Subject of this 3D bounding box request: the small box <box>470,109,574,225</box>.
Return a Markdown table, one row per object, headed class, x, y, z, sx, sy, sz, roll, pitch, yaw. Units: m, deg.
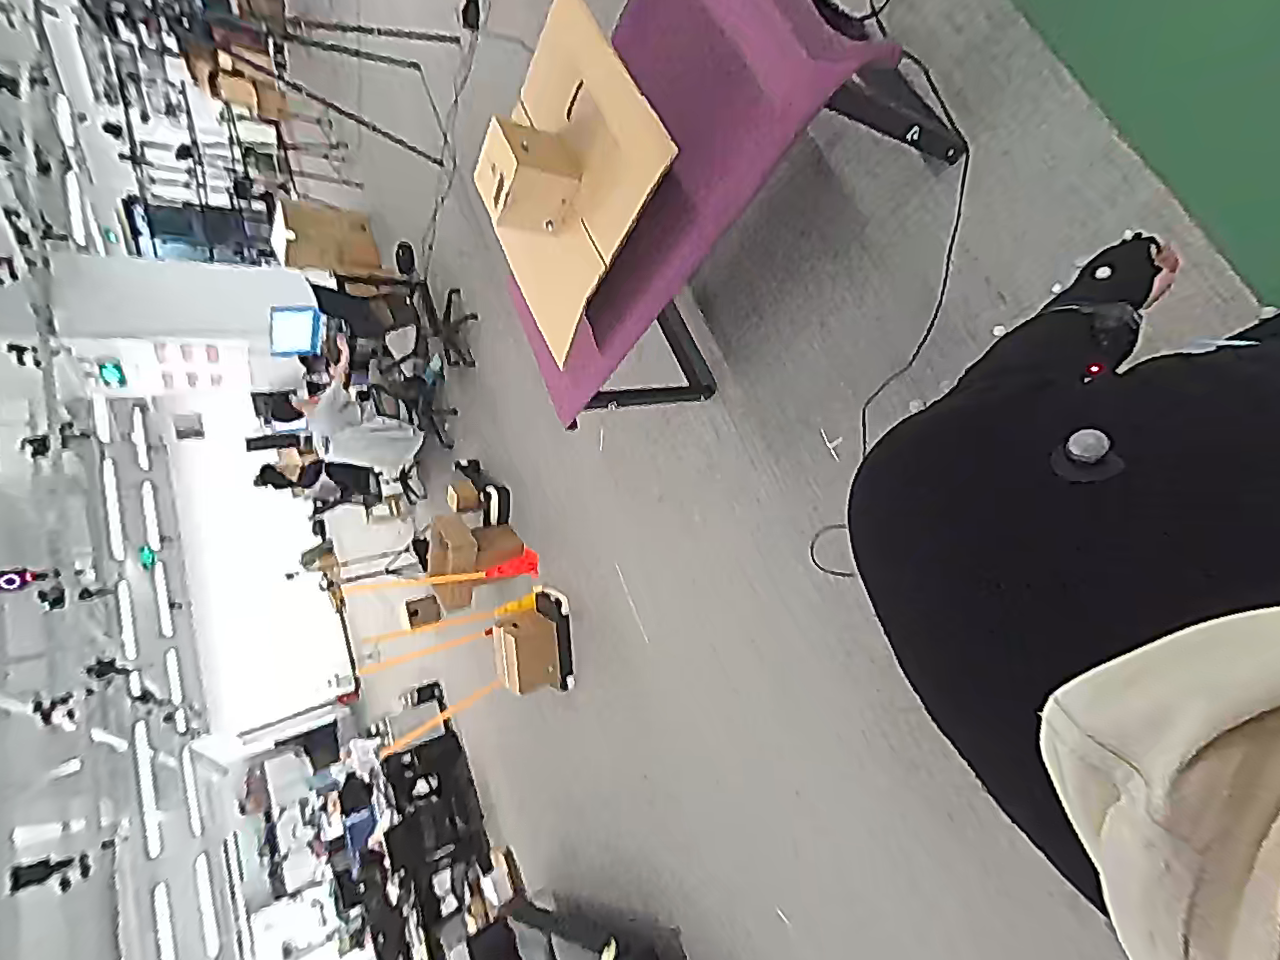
| class | x | y | z | sx | sy | sz | roll | pitch | yaw |
| --- | --- | --- | --- | --- | --- | --- | --- | --- | --- |
| small box | -0.284 | -0.743 | 1.306 | 0.168 | 0.176 | 0.179 | -44 | 64 | 45 |
